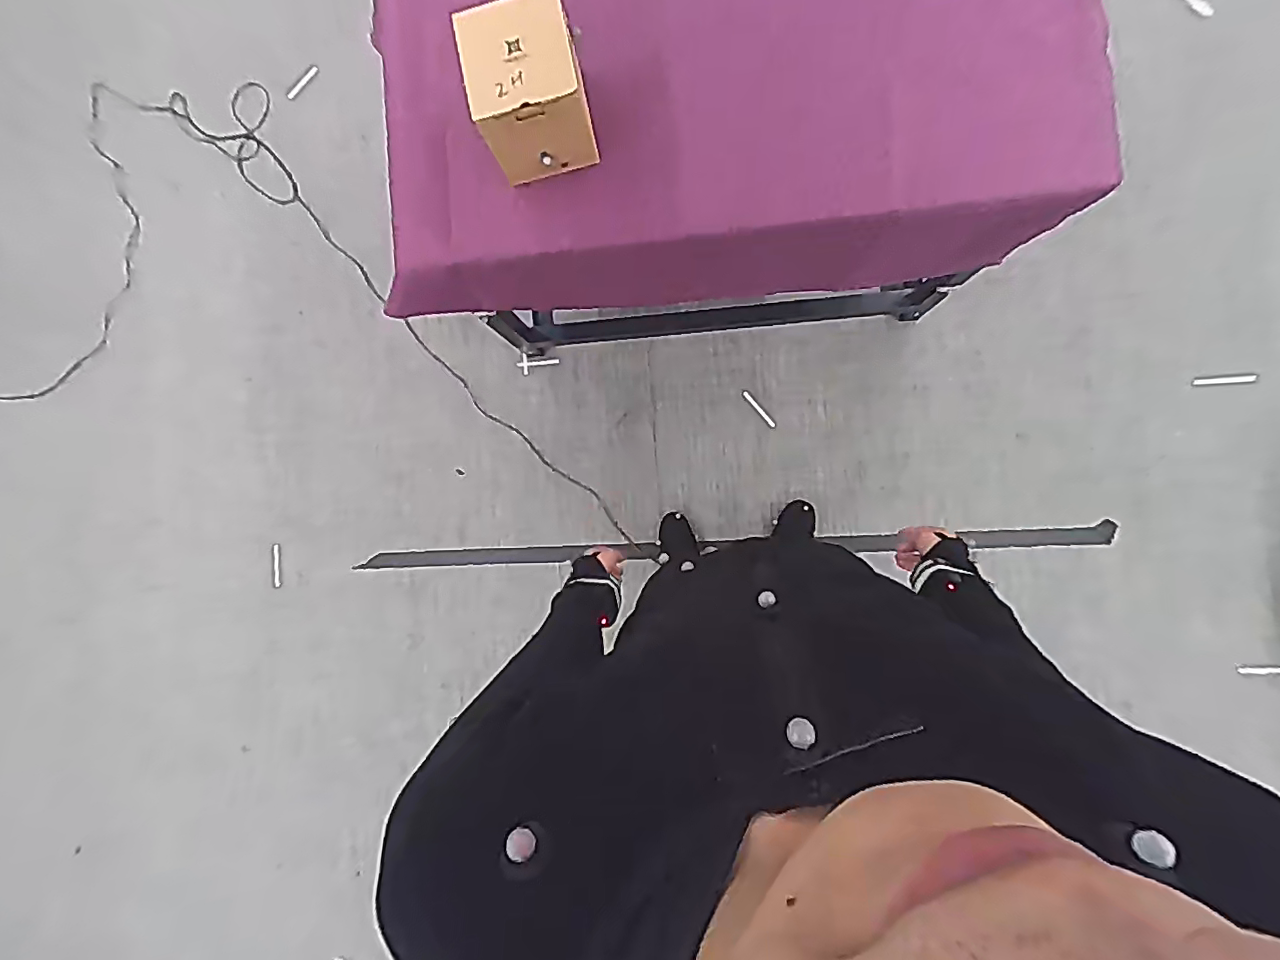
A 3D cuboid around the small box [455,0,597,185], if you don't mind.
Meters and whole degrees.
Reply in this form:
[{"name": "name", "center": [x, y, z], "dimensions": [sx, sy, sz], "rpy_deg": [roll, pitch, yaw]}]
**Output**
[{"name": "small box", "center": [-0.176, -0.624, 0.879], "dimensions": [0.168, 0.176, 0.179], "rpy_deg": [-12, 87, 6]}]
